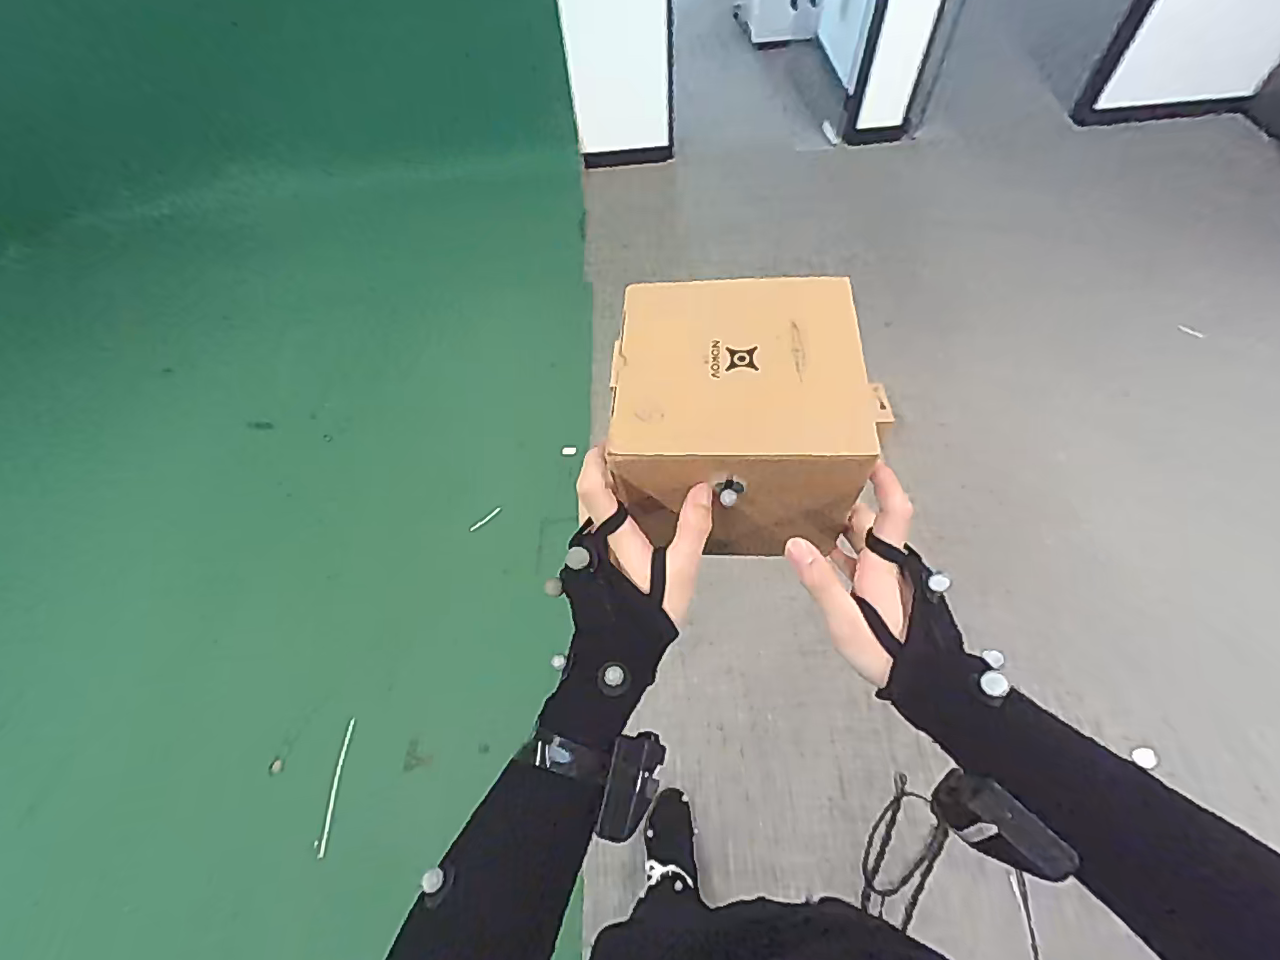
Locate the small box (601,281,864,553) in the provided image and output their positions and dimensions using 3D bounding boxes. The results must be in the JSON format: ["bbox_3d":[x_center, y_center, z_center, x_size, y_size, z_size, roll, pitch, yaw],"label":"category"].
[{"bbox_3d":[0.075,-0.046,0.463,0.179,0.176,0.168,2,59,8],"label":"small box"}]

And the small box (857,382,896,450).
[{"bbox_3d":[0.739,-0.211,1.837,0.179,0.176,0.168,-4,58,4],"label":"small box"}]
